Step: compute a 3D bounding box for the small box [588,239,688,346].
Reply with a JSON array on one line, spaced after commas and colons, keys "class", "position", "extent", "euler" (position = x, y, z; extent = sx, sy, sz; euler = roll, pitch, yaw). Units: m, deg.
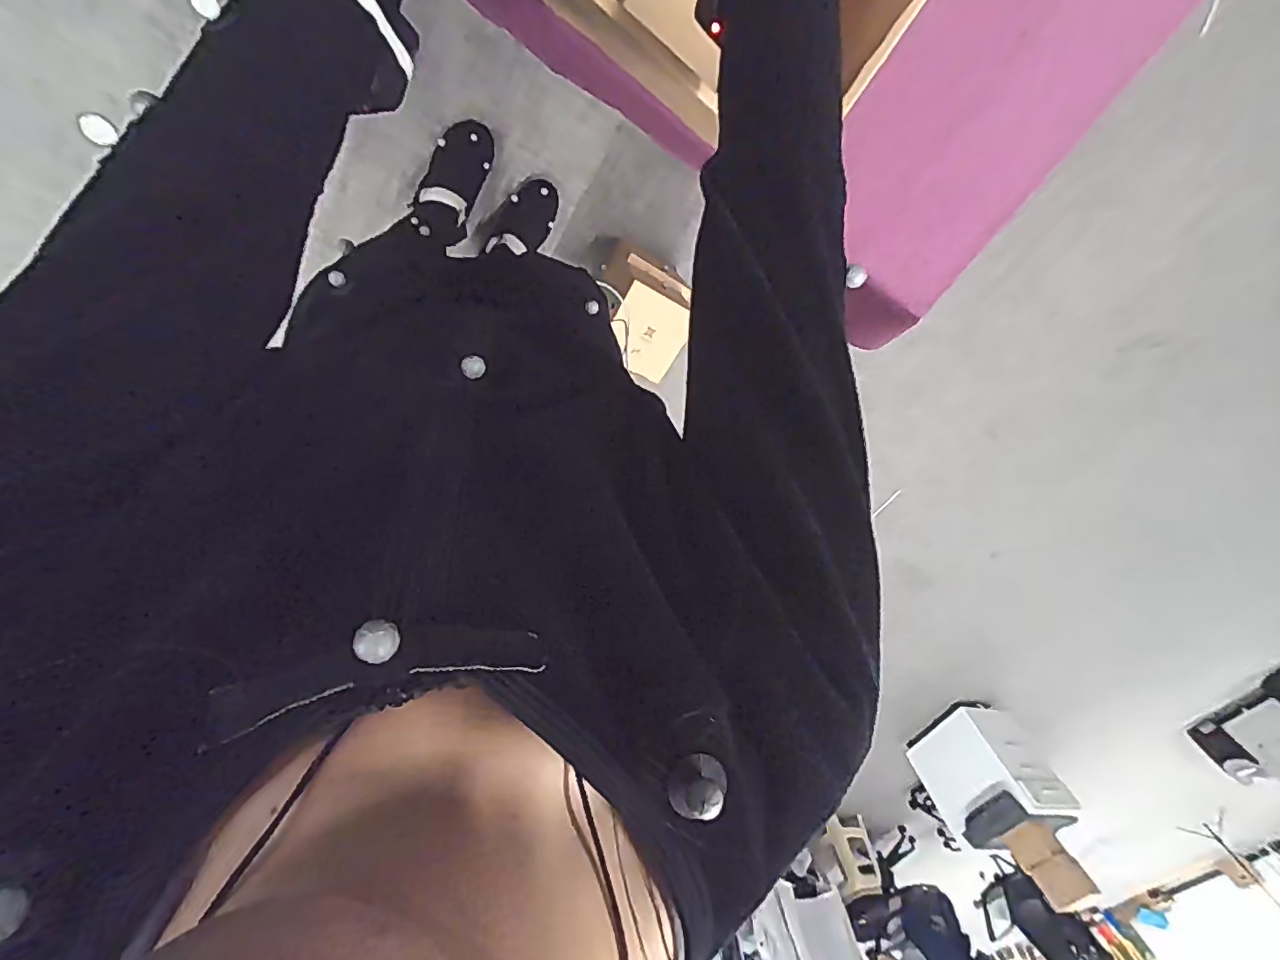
[{"class": "small box", "position": [-0.012, -0.465, 1.329], "extent": [0.179, 0.176, 0.168], "euler": [23, 118, -25]}]
